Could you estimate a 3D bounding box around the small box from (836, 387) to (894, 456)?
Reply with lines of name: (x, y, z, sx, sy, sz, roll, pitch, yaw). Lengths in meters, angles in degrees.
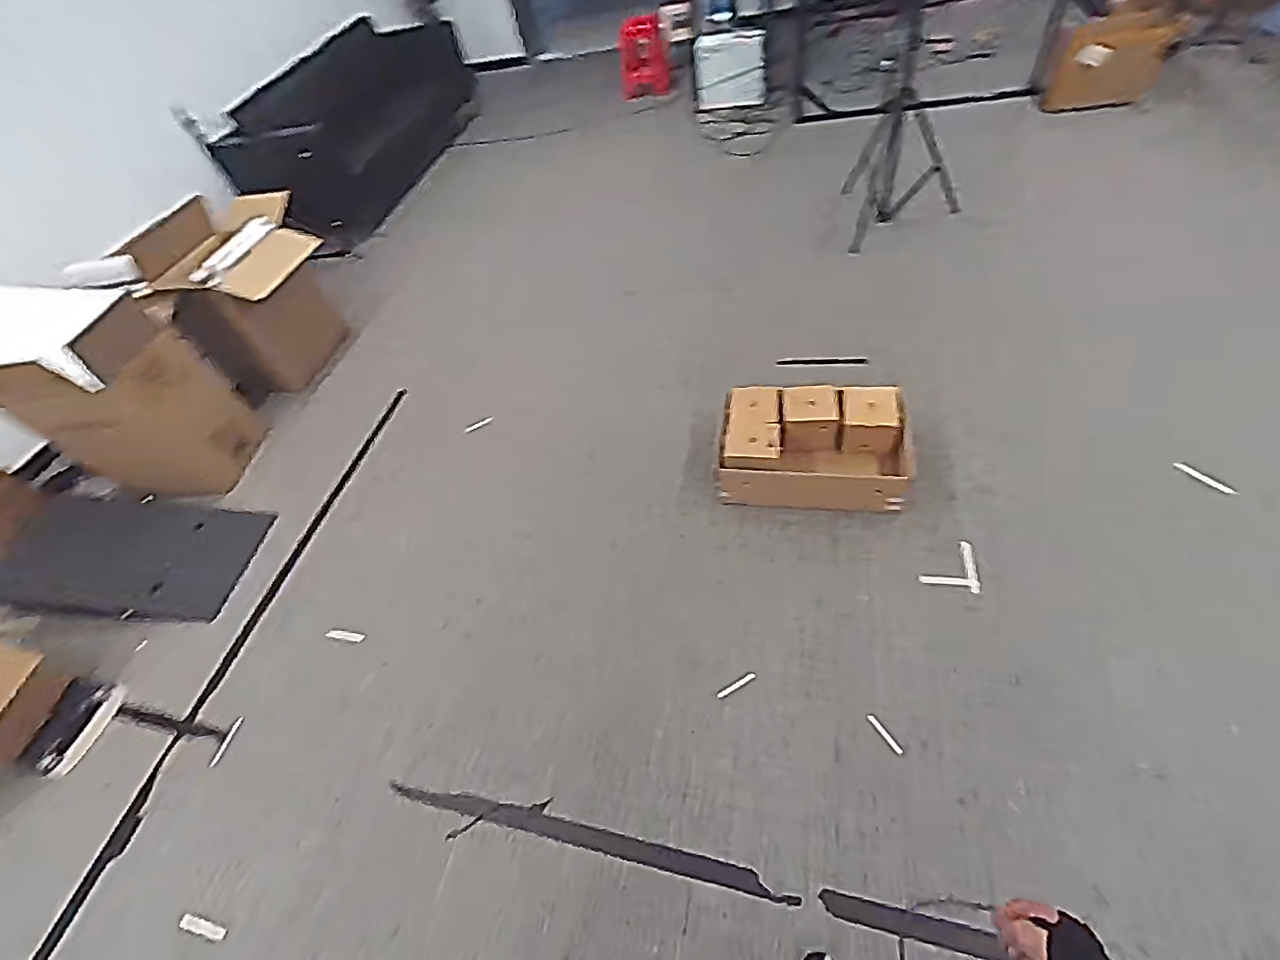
small box: (0.777, -0.205, 1.882, 0.168, 0.176, 0.179, 2, 57, 16)
